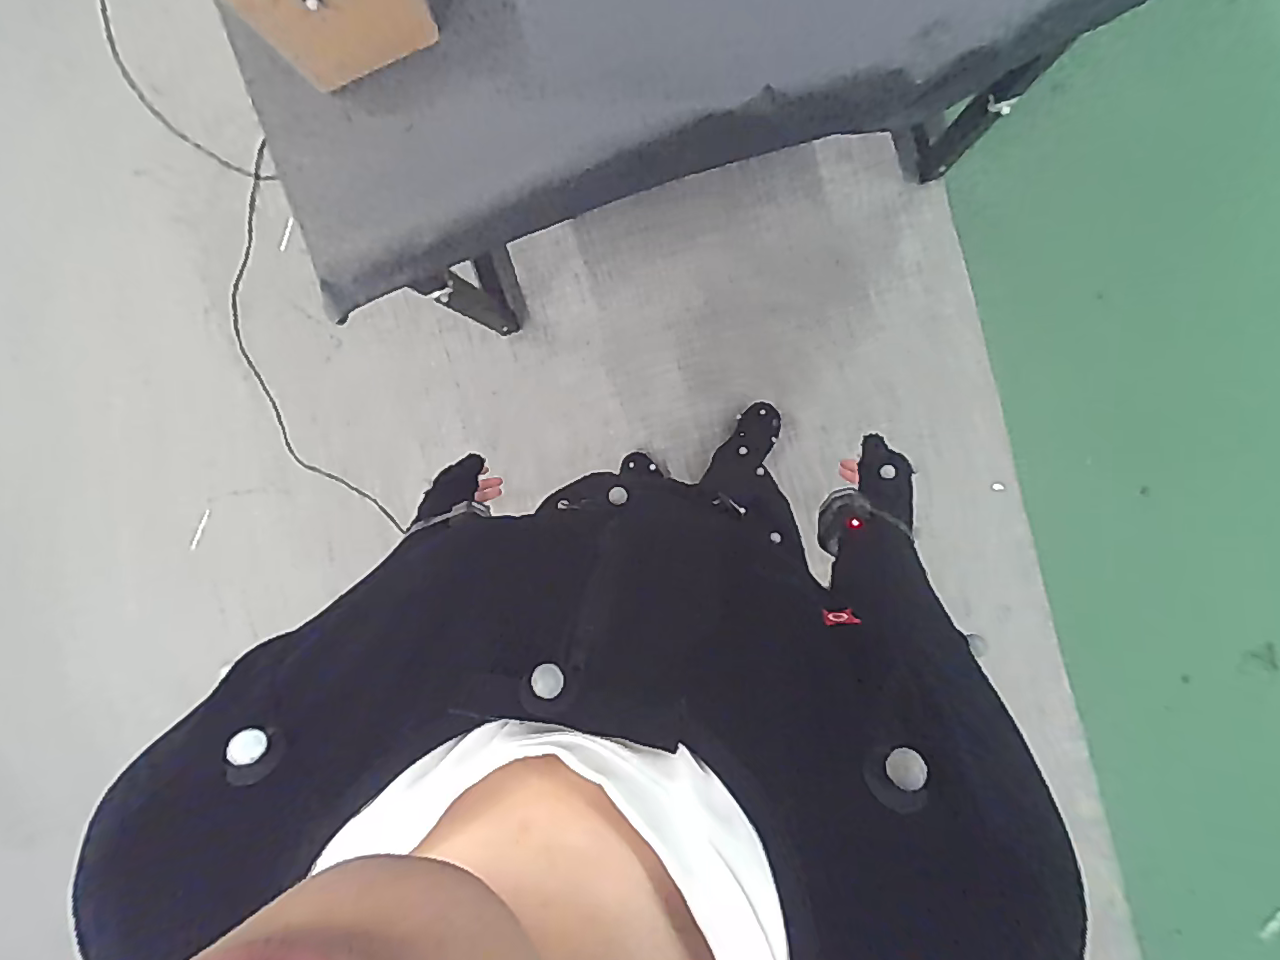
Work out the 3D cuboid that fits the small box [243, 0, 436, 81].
[{"bbox_3d":[-0.371,-0.615,0.623,0.179,0.176,0.168,-20,94,5],"label":"small box"}]
